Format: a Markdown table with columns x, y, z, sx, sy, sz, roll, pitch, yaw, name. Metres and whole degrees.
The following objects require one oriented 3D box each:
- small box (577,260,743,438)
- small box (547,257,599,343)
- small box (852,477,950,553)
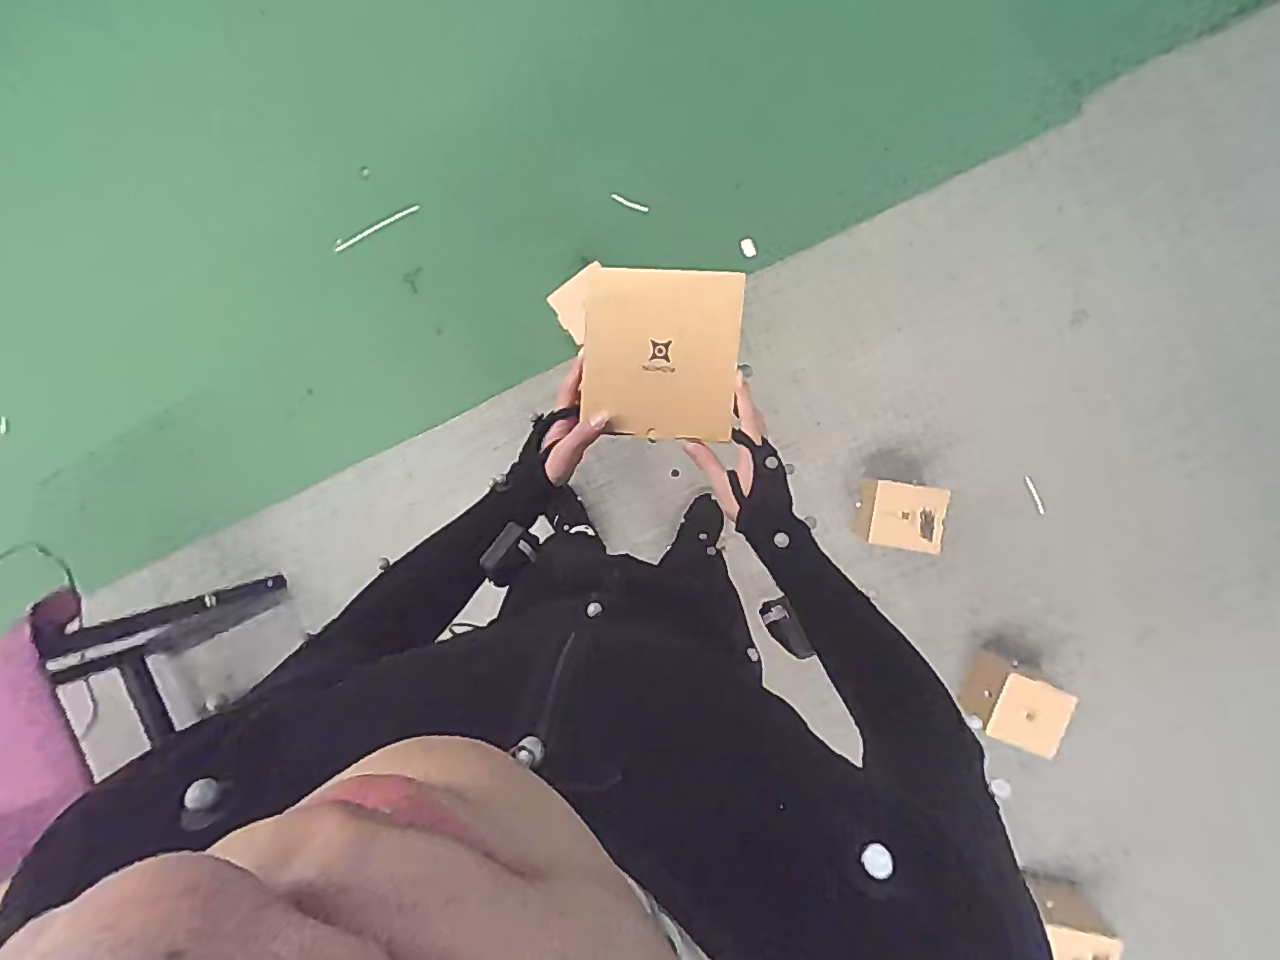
| x | y | z | sx | sy | sz | roll | pitch | yaw | name |
| --- | --- | --- | --- | --- | --- | --- | --- | --- | --- |
| 0.027 | -0.148 | 0.642 | 0.168 | 0.176 | 0.179 | 4 | 100 | 7 | small box |
| -0.129 | -0.486 | 1.532 | 0.179 | 0.176 | 0.168 | -34 | 87 | 8 | small box |
| 0.684 | 0.085 | 1.435 | 0.179 | 0.176 | 0.168 | 9 | 93 | 9 | small box |
